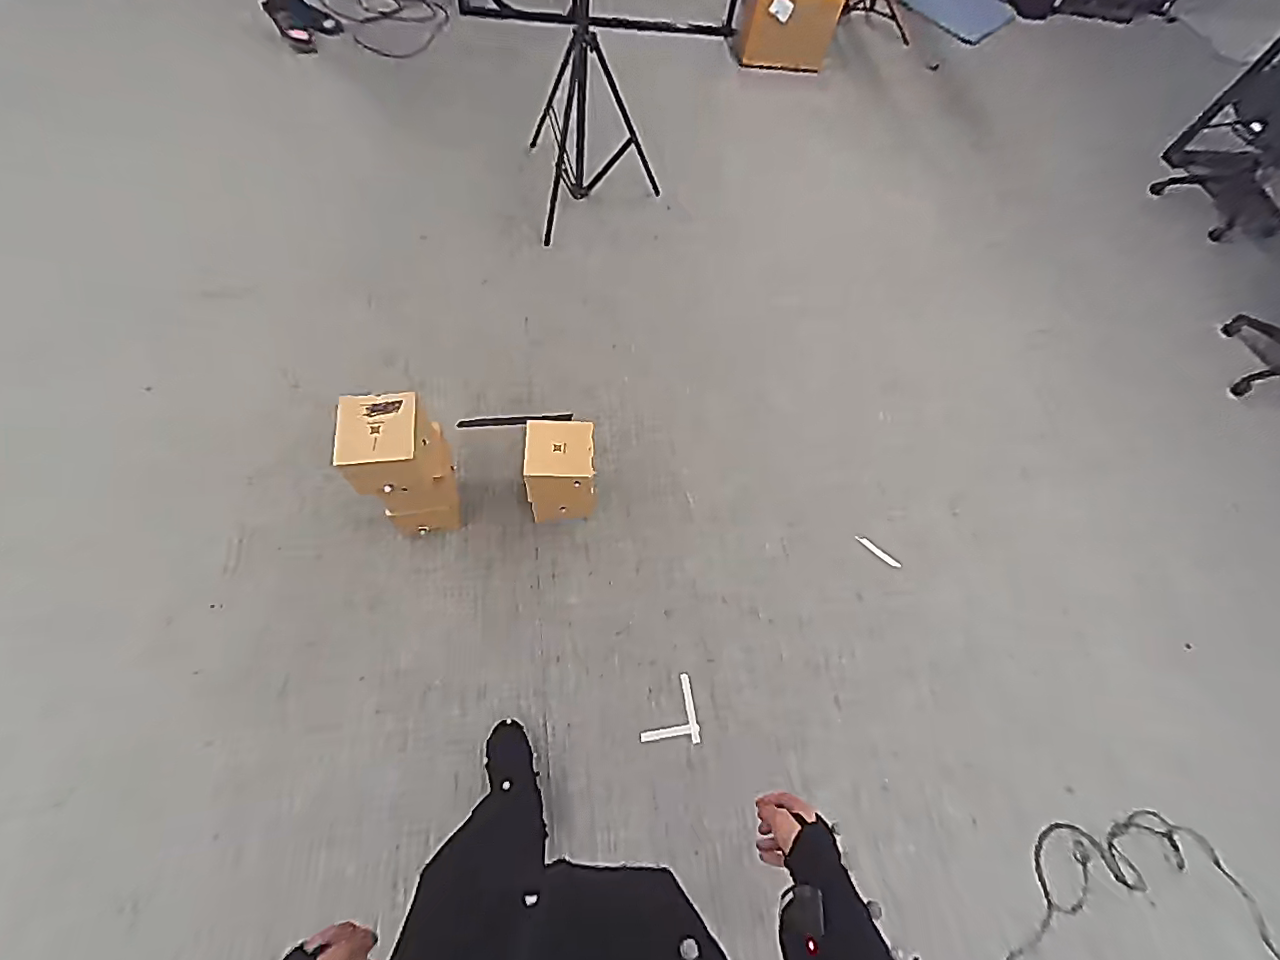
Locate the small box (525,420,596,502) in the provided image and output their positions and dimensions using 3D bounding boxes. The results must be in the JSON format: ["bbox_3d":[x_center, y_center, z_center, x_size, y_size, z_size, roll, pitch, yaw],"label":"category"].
[{"bbox_3d":[-0.210,-0.046,1.460,0.179,0.176,0.168,2,64,-7],"label":"small box"}]

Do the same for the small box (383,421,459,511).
[{"bbox_3d":[-0.579,-0.032,1.404,0.179,0.176,0.168,-8,66,-11],"label":"small box"}]

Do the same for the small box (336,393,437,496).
[{"bbox_3d":[-0.573,-0.079,1.245,0.168,0.176,0.179,-5,66,-8],"label":"small box"}]

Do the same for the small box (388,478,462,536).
[{"bbox_3d":[-0.610,0.043,1.547,0.168,0.176,0.179,-7,66,-10],"label":"small box"}]
